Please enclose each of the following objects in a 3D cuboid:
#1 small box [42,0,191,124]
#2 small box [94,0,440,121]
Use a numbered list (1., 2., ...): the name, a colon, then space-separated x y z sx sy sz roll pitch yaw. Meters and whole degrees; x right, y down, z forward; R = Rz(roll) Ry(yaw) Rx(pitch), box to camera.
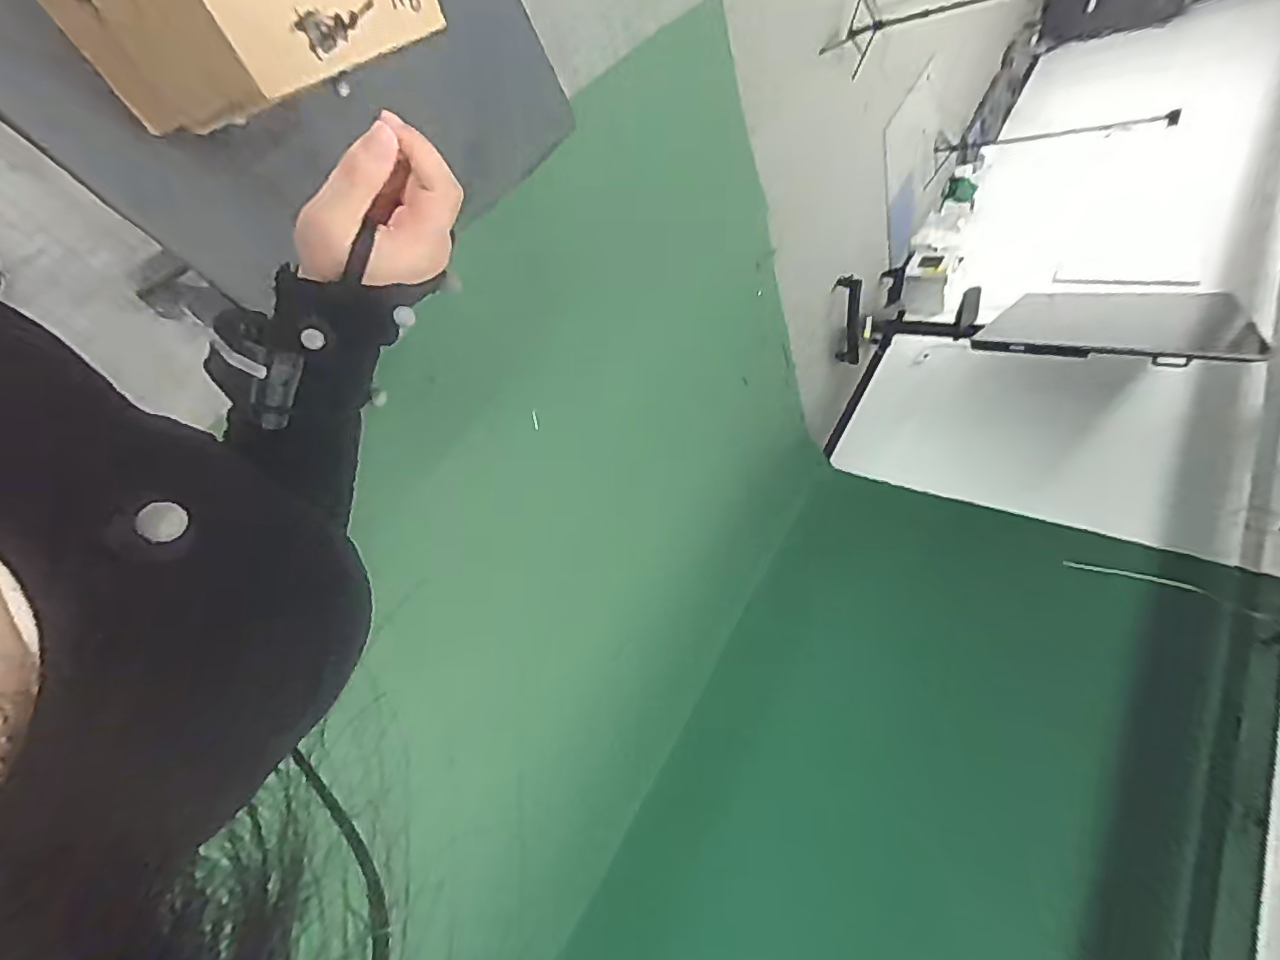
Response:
1. small box: -0.409 -0.442 0.464 0.168 0.176 0.179 -53 141 -25
2. small box: -0.286 -0.383 0.371 0.168 0.176 0.179 -51 138 -27
